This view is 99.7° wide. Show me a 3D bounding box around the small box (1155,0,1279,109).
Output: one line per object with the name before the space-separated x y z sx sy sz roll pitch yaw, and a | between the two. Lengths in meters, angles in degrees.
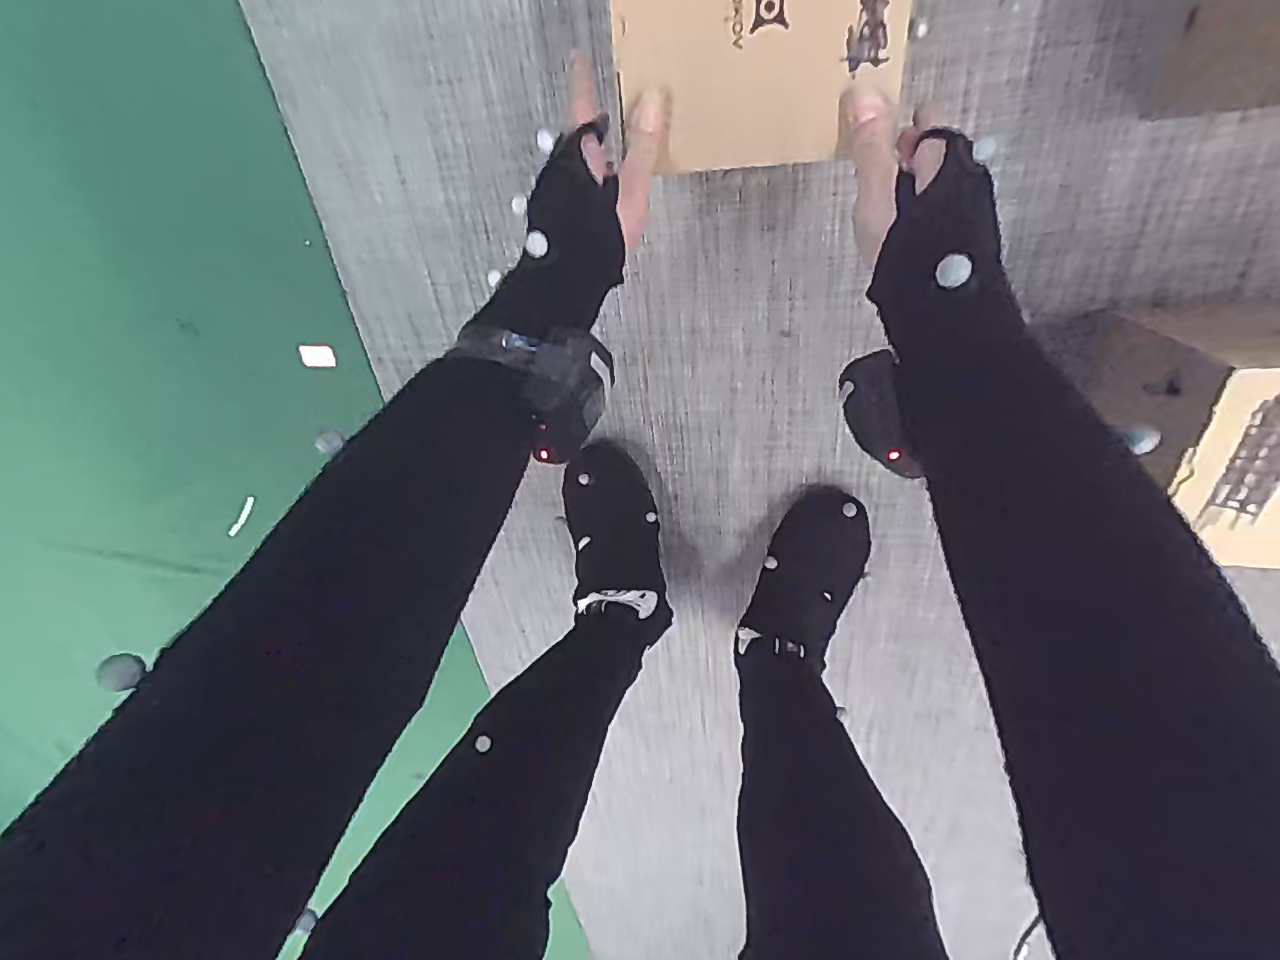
small box | 0.457 -0.318 0.296 0.179 0.176 0.168 1 120 14

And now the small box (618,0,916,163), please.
small box | 0.088 -0.324 0.382 0.179 0.176 0.168 3 121 13
